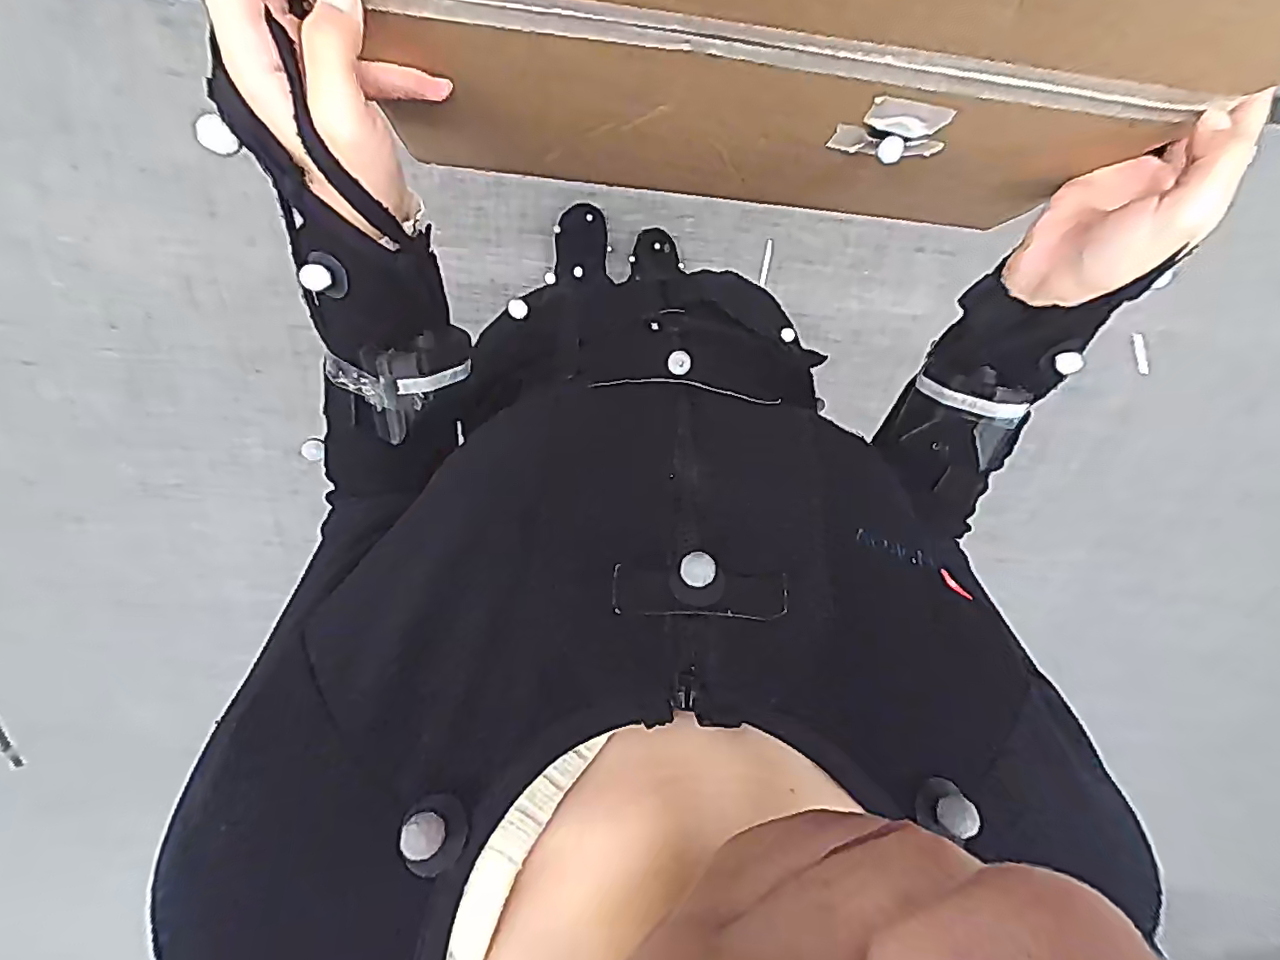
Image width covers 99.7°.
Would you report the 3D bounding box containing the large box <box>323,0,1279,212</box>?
[{"bbox_3d":[0.072,-0.338,0.215,0.408,0.320,0.320,3,97,-5],"label":"large box"}]
